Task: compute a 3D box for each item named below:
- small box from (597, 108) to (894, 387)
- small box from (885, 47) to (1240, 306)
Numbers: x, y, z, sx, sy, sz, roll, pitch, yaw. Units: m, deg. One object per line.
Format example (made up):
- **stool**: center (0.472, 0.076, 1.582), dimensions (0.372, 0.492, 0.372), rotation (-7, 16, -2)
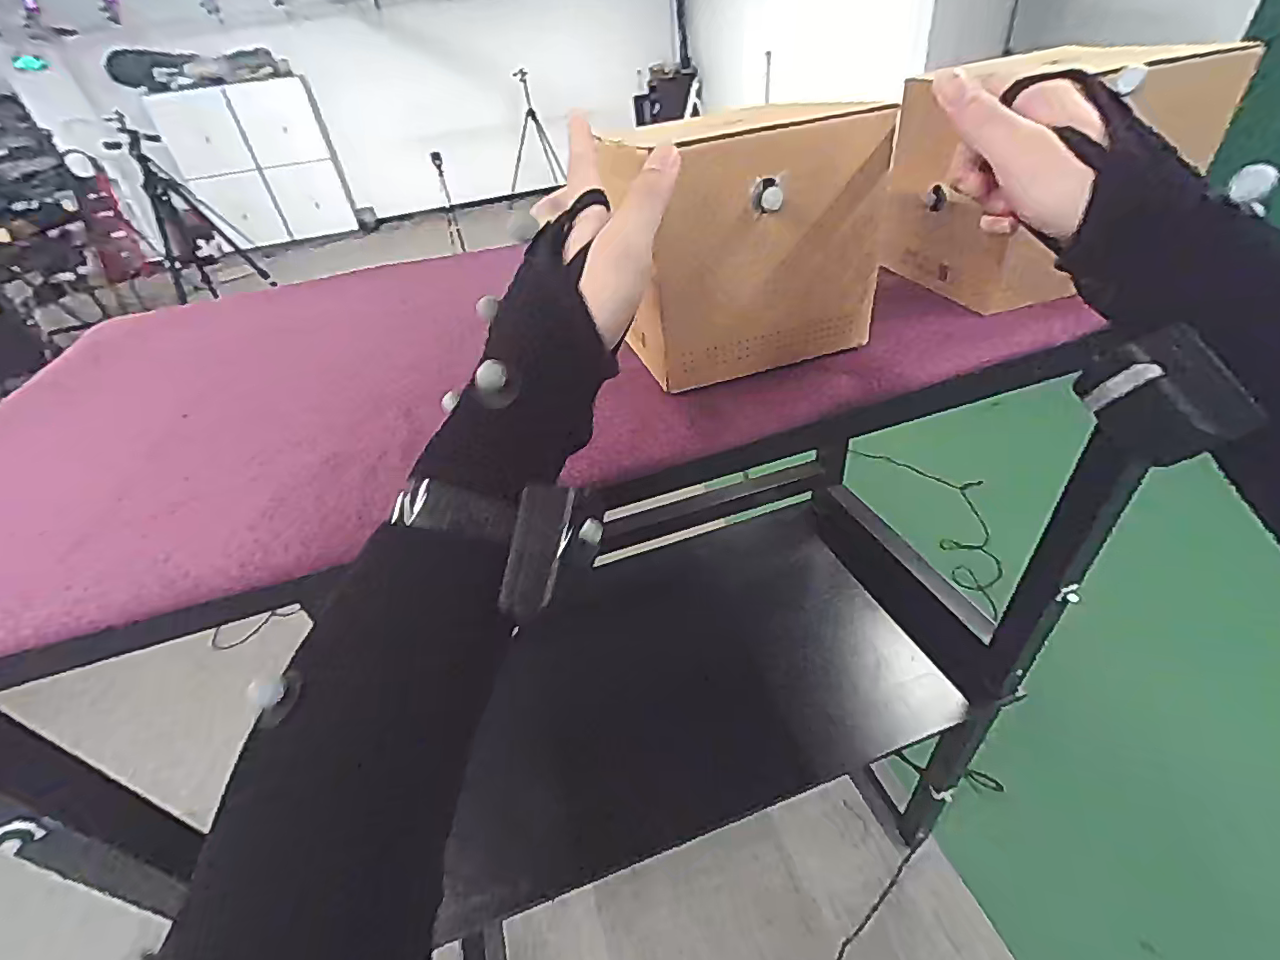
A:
- **small box**: center (0.075, -0.199, 0.455), dimensions (0.179, 0.176, 0.168), rotation (-16, 36, -9)
- **small box**: center (0.349, -0.274, 0.496), dimensions (0.179, 0.176, 0.168), rotation (-13, 39, -7)
